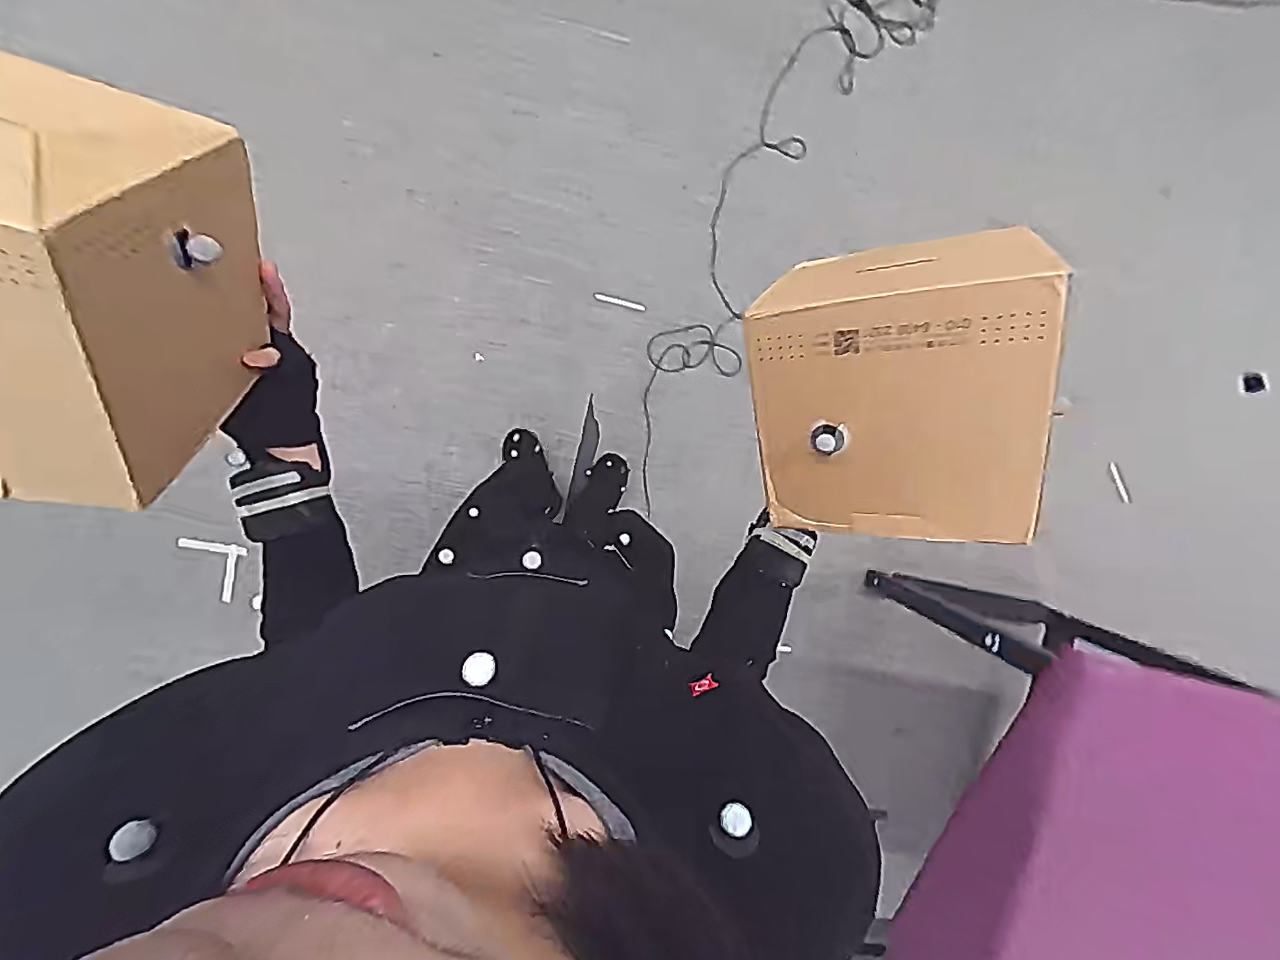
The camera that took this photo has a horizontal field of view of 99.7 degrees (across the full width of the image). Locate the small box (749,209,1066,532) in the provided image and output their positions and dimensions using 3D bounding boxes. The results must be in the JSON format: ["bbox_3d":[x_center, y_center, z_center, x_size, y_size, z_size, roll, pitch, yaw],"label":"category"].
[{"bbox_3d":[0.185,-0.082,0.389,0.168,0.179,0.176,1,120,28],"label":"small box"}]

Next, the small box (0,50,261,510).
[{"bbox_3d":[-0.336,-0.112,0.285,0.168,0.179,0.176,11,131,-17],"label":"small box"}]
